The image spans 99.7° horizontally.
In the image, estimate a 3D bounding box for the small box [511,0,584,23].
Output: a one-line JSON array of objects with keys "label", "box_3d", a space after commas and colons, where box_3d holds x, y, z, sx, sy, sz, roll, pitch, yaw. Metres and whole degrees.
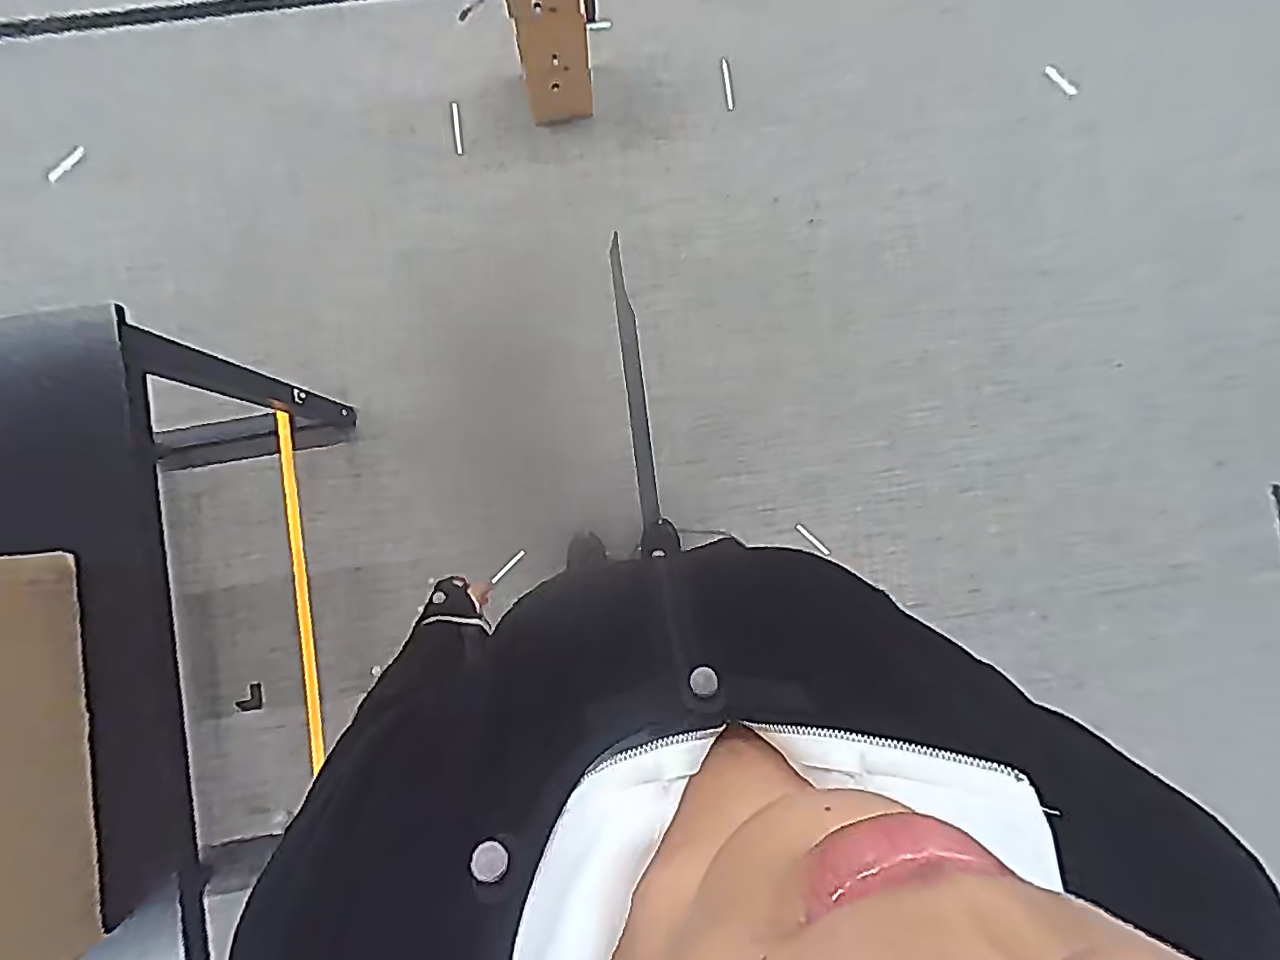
[{"label": "small box", "box_3d": [-0.209, -1.137, 1.158, 0.168, 0.176, 0.179, -3, 88, -1]}]

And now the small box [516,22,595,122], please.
[{"label": "small box", "box_3d": [-0.227, -1.124, 1.485, 0.179, 0.176, 0.168, -12, 87, -4]}]

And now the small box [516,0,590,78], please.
[{"label": "small box", "box_3d": [-0.215, -1.135, 1.321, 0.168, 0.176, 0.179, -8, 87, -2]}]
